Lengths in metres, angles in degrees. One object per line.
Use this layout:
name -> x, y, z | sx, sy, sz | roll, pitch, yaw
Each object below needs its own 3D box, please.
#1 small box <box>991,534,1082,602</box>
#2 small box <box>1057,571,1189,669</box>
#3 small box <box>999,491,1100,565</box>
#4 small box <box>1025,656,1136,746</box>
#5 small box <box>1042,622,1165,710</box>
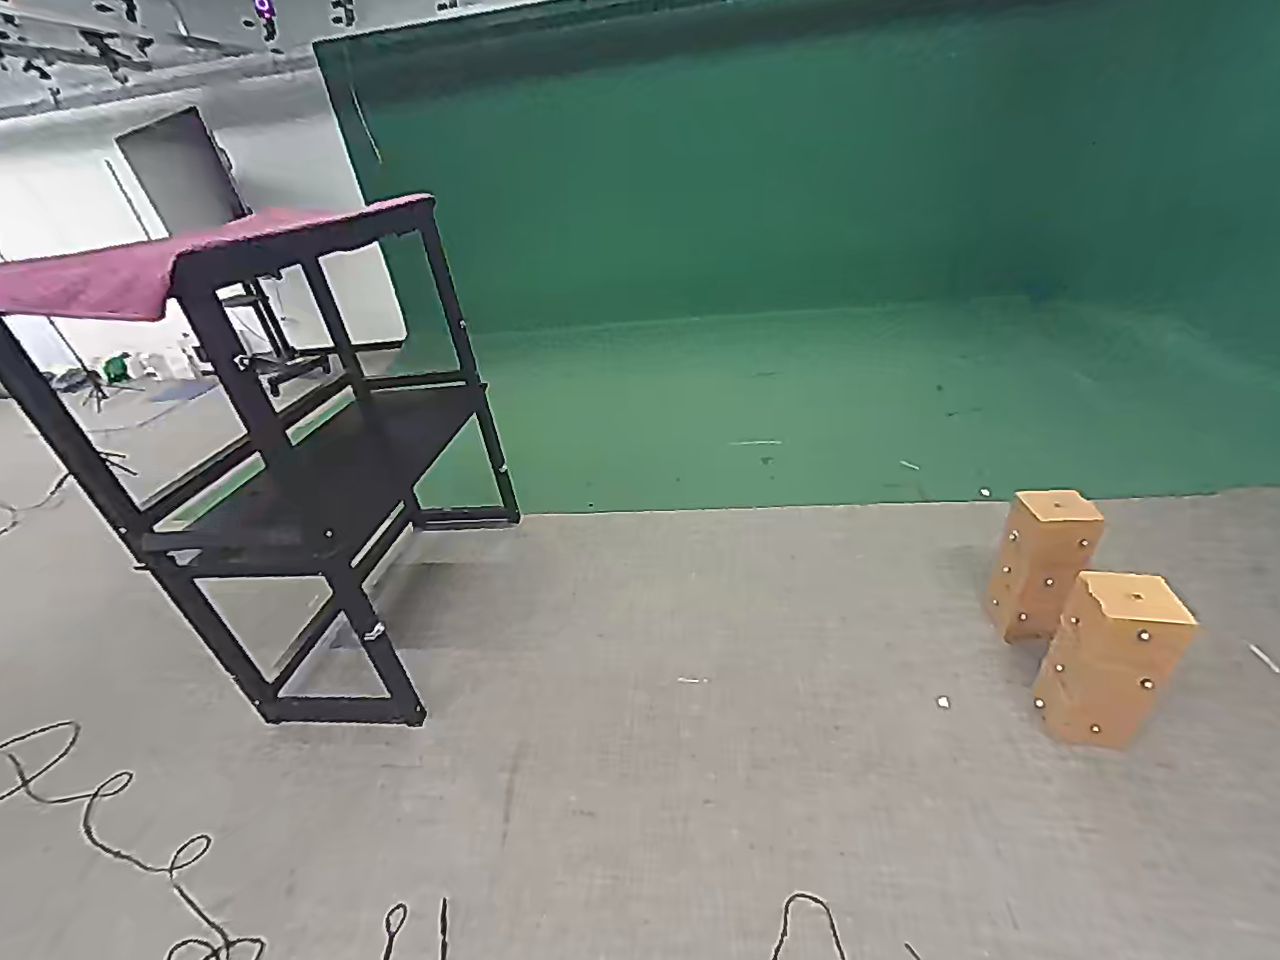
small box -> 1.284, 0.285, 1.770 | 0.179, 0.176, 0.168 | -4, 32, 6
small box -> 1.206, 0.354, 1.367 | 0.179, 0.176, 0.168 | 1, 33, 14
small box -> 1.262, 0.149, 1.682 | 0.179, 0.176, 0.168 | -3, 30, 7
small box -> 1.242, 0.630, 1.539 | 0.179, 0.176, 0.168 | 1, 33, 14
small box -> 1.228, 0.493, 1.449 | 0.179, 0.176, 0.168 | 0, 32, 12
